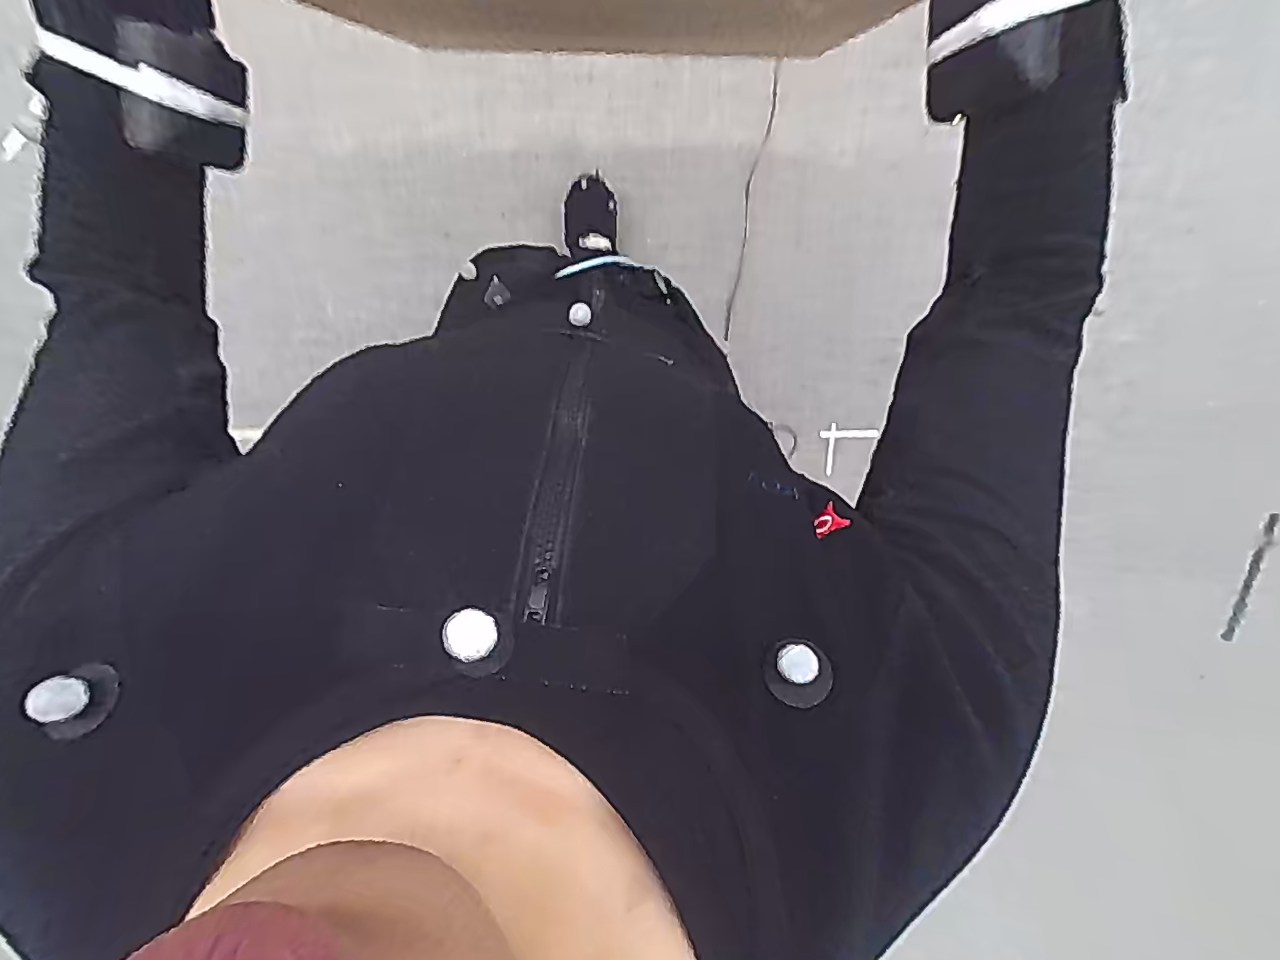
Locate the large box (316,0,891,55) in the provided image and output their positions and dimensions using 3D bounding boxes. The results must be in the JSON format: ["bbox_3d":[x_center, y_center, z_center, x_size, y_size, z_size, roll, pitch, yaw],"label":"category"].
[{"bbox_3d":[-0.022,-0.486,0.342,0.408,0.320,0.320,2,123,1],"label":"large box"}]
